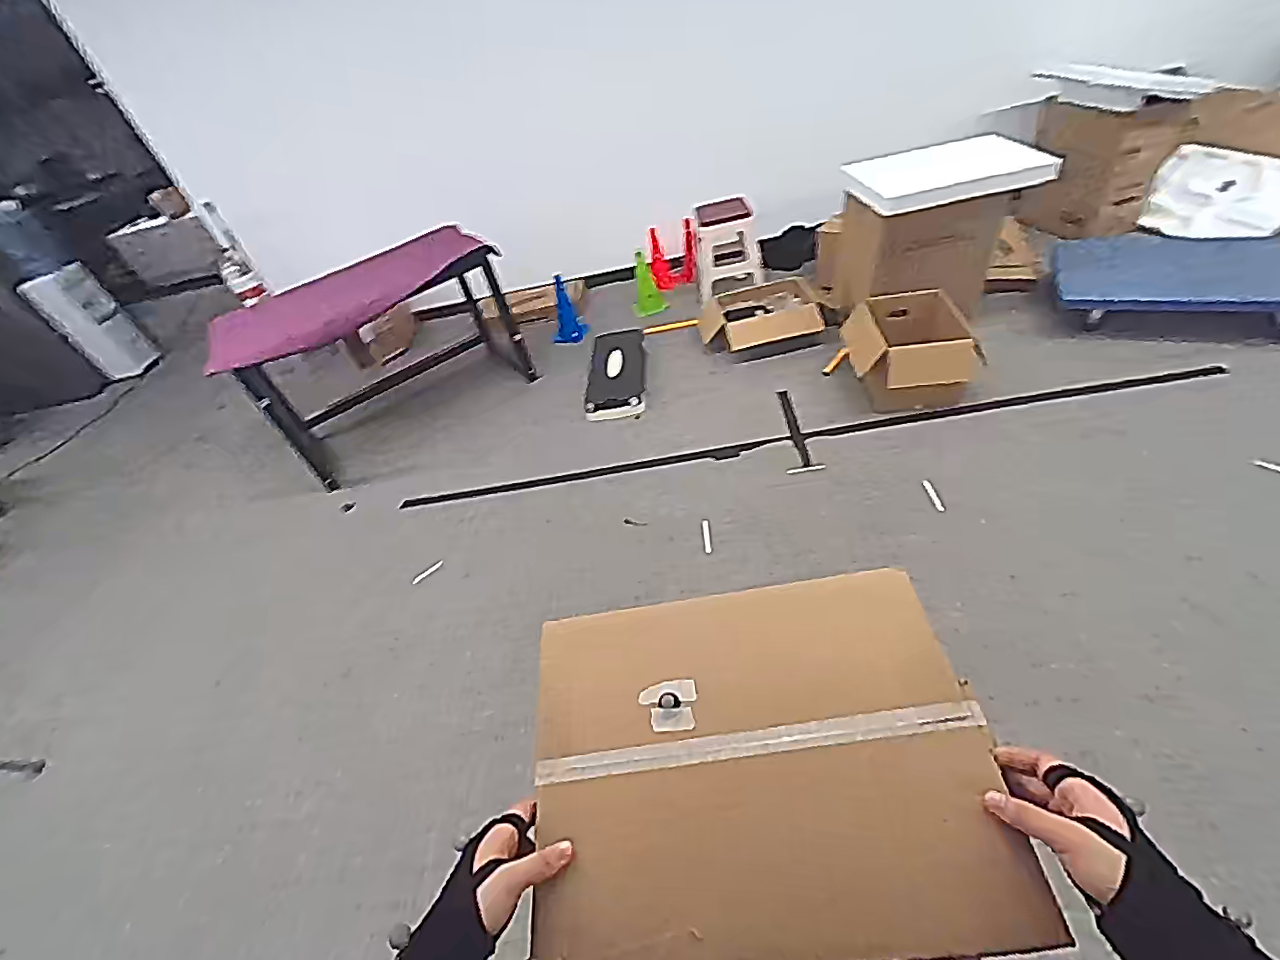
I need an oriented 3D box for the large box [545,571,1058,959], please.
[{"bbox_3d":[0.137,0.344,0.623,0.408,0.320,0.320,-11,48,7],"label":"large box"}]
